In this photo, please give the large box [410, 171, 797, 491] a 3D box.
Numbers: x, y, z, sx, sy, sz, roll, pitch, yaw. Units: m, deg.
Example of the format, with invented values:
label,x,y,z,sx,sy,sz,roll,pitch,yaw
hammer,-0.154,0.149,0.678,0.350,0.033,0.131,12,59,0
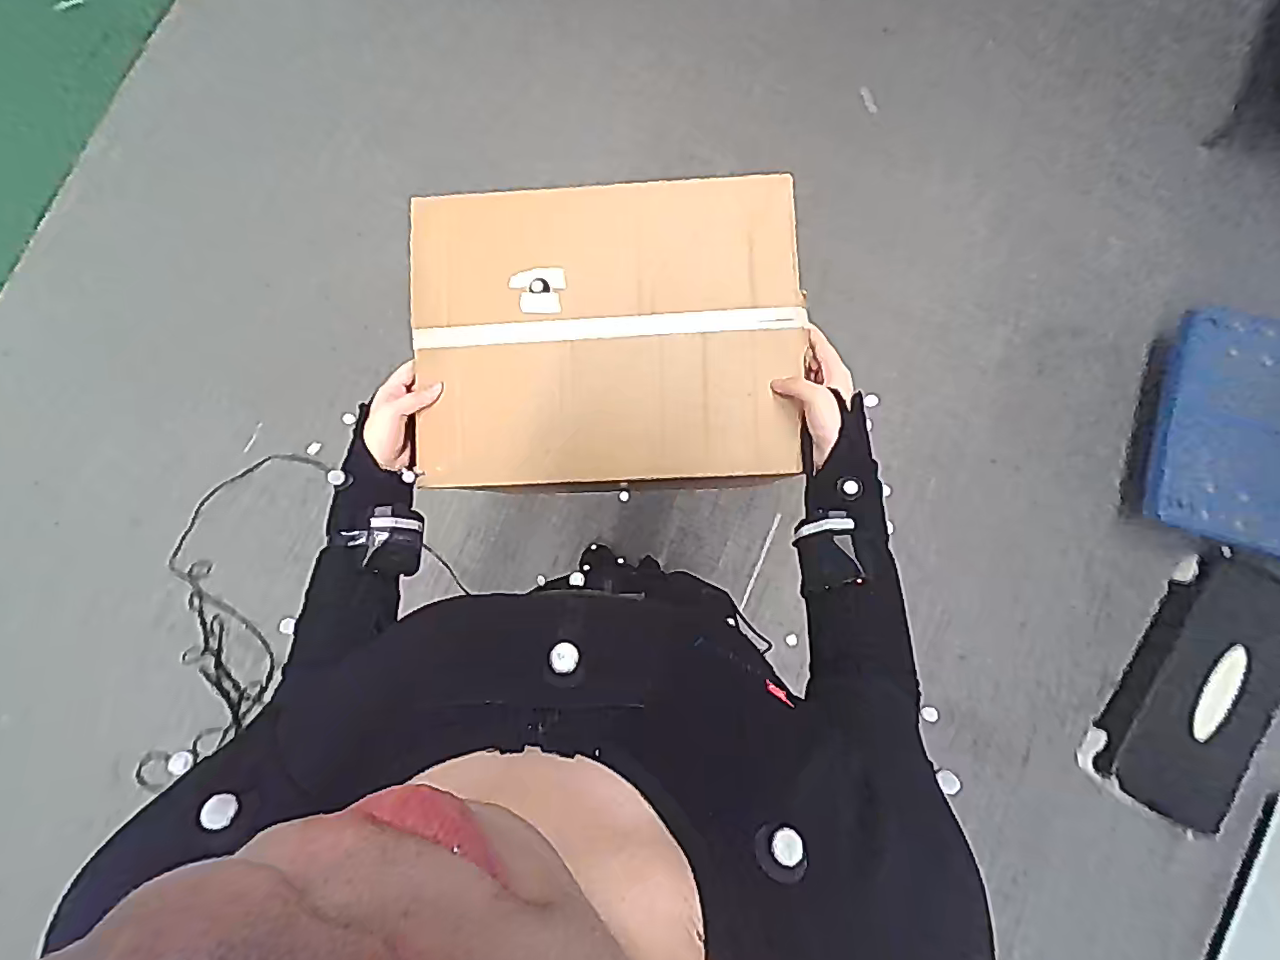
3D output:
label,x,y,z,sx,sy,sz,roll,pitch,yaw
large box,-0.034,-0.153,0.723,0.408,0.320,0.320,-4,87,4
